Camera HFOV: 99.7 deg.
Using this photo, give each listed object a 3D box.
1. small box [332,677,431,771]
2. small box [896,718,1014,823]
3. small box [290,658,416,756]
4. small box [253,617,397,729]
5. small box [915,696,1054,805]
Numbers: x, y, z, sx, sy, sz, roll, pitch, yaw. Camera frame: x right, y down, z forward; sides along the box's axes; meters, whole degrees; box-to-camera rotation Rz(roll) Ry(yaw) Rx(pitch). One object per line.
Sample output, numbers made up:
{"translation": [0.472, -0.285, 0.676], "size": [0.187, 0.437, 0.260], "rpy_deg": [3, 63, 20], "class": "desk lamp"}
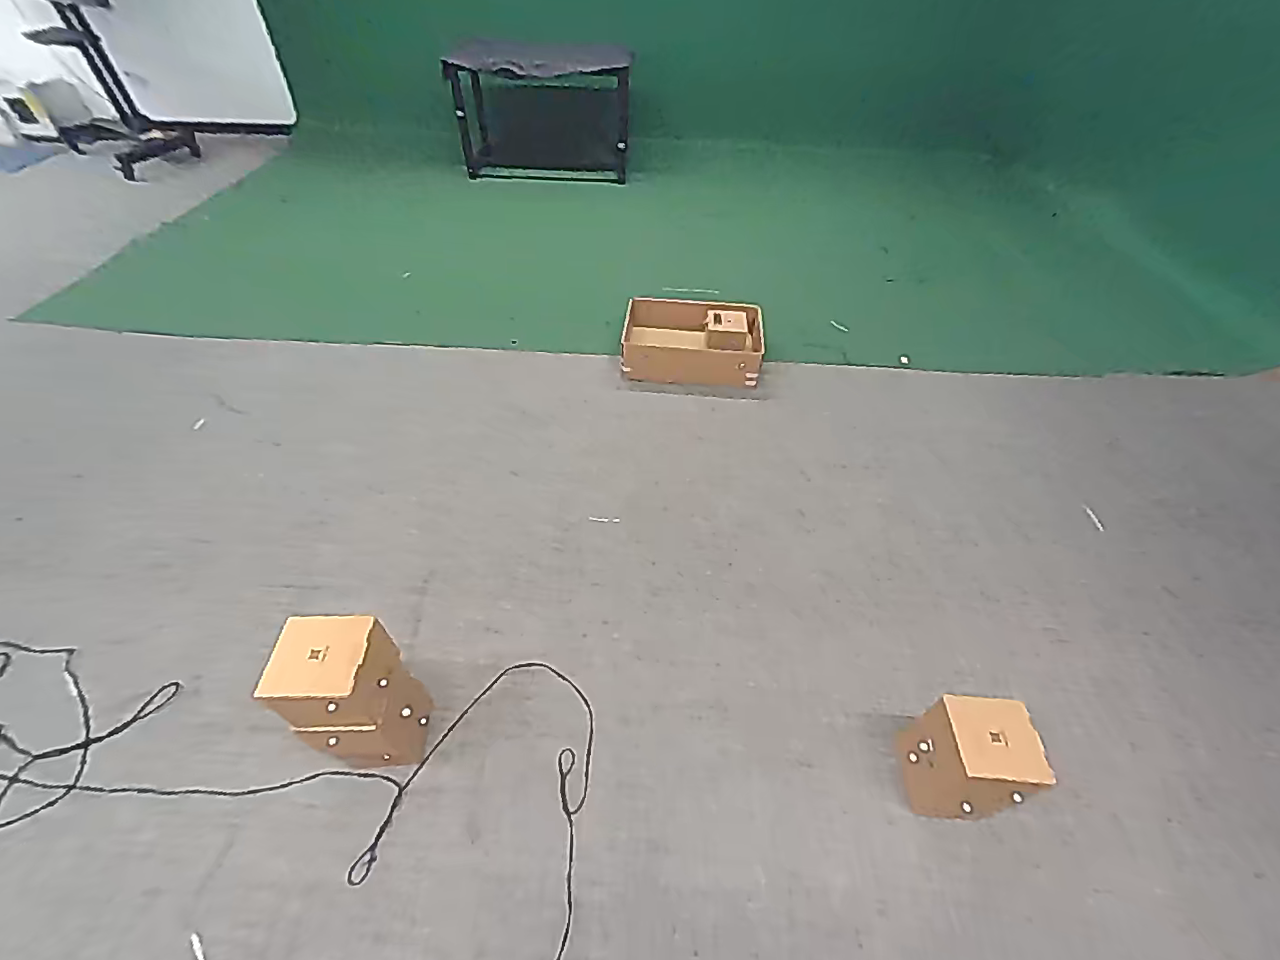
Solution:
{"translation": [-0.639, 0.609, 1.347], "size": [0.179, 0.176, 0.168], "rpy_deg": [-3, 47, -3], "class": "small box"}
{"translation": [0.740, 0.697, 1.297], "size": [0.168, 0.176, 0.179], "rpy_deg": [3, 47, 2], "class": "small box"}
{"translation": [-0.632, 0.510, 1.215], "size": [0.179, 0.176, 0.168], "rpy_deg": [0, 48, -2], "class": "small box"}
{"translation": [-0.625, 0.395, 1.100], "size": [0.179, 0.176, 0.168], "rpy_deg": [0, 47, -3], "class": "small box"}
{"translation": [0.733, 0.590, 1.174], "size": [0.179, 0.176, 0.168], "rpy_deg": [3, 46, 3], "class": "small box"}
